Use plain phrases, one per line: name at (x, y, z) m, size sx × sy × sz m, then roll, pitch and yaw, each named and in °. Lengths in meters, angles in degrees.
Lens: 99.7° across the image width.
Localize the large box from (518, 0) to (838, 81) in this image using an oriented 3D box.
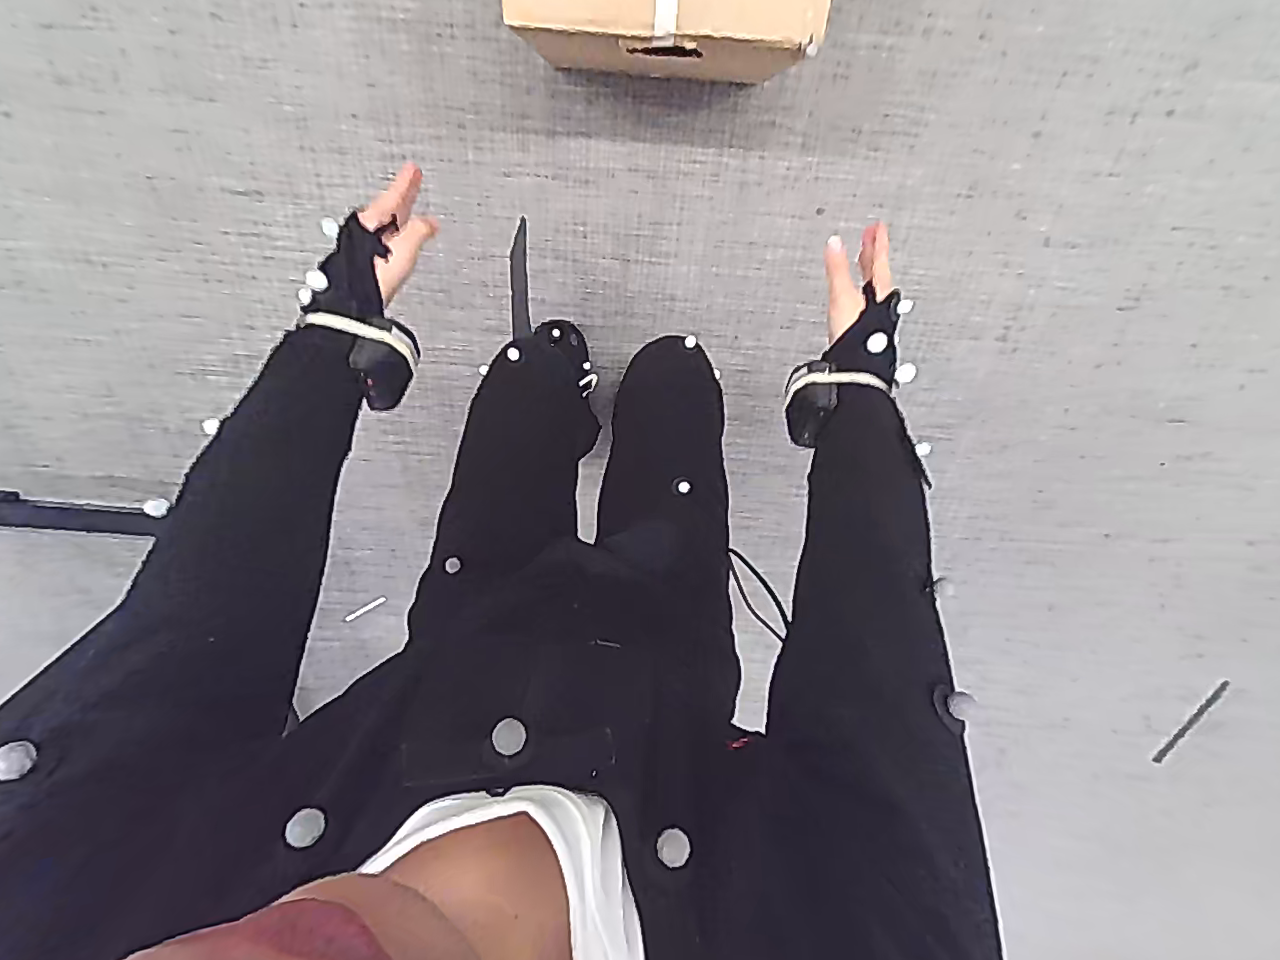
large box at (0.042, -0.680, 0.554) m, size 0.320 × 0.320 × 0.408 m, roll 3°, pitch 121°, yaw -1°
